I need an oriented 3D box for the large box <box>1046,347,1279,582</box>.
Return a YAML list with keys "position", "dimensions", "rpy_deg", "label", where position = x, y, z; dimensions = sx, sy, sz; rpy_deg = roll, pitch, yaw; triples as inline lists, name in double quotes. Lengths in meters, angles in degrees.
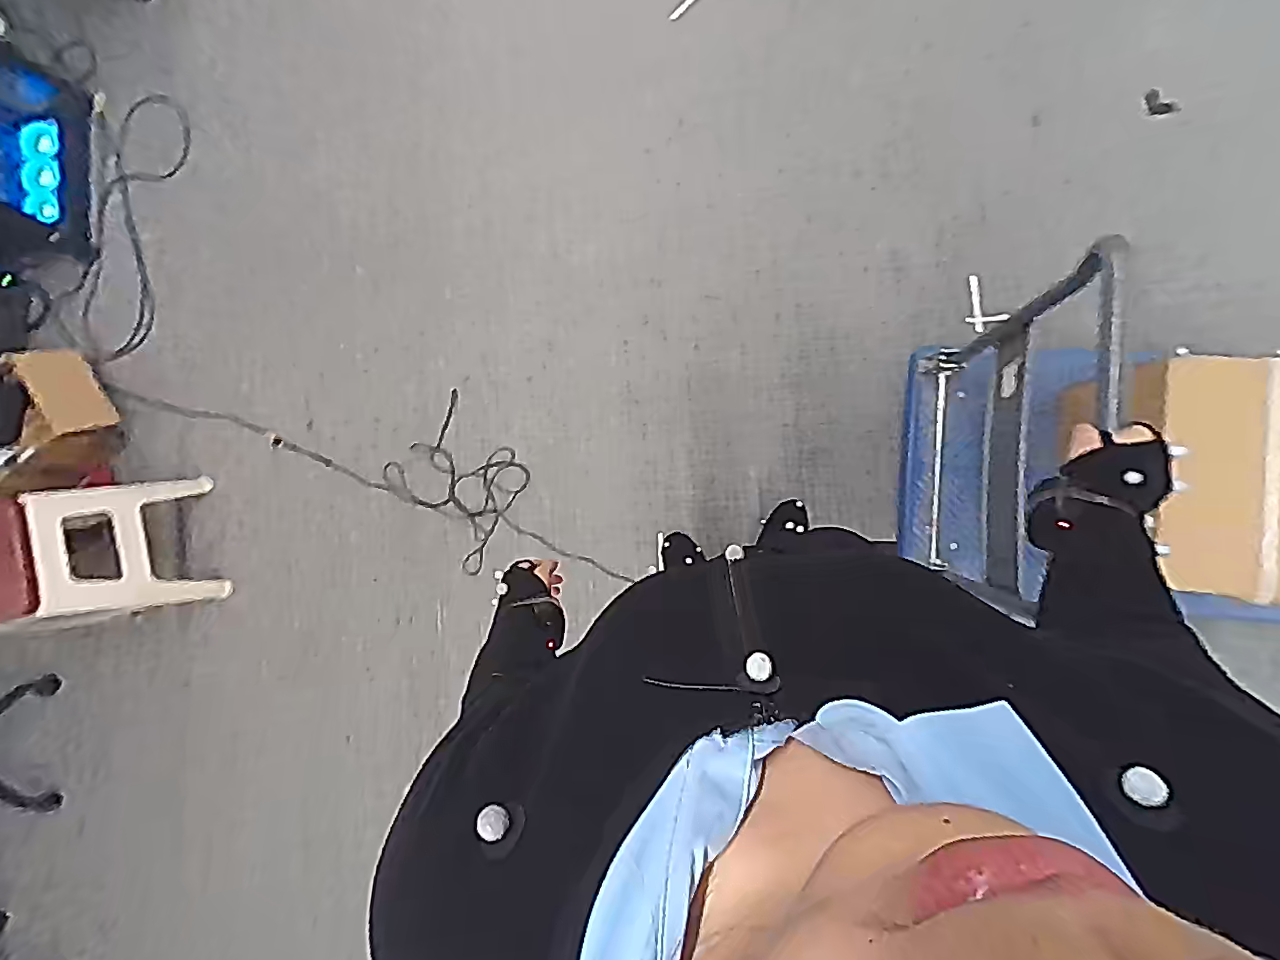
- position: [1.061, -0.019, 1.069]
  dimensions: [0.320, 0.320, 0.408]
  rpy_deg: [4, 87, 8]
  label: "large box"
